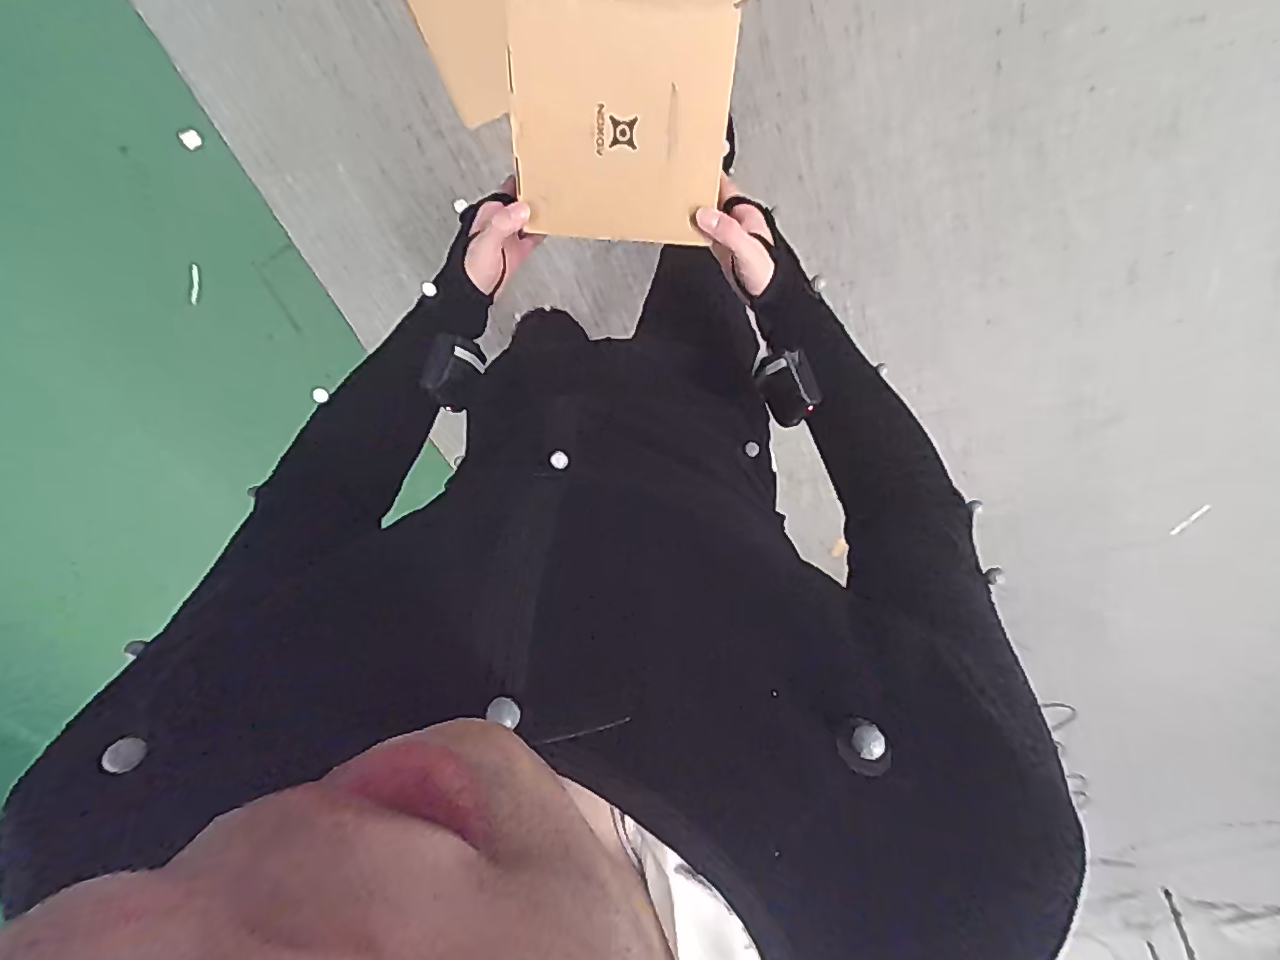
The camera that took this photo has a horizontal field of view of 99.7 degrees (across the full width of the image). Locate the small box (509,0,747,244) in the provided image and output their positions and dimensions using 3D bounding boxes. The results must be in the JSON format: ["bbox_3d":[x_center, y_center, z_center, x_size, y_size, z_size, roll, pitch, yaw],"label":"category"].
[{"bbox_3d":[-0.007,-0.333,0.500,0.179,0.176,0.168,4,130,1],"label":"small box"}]
